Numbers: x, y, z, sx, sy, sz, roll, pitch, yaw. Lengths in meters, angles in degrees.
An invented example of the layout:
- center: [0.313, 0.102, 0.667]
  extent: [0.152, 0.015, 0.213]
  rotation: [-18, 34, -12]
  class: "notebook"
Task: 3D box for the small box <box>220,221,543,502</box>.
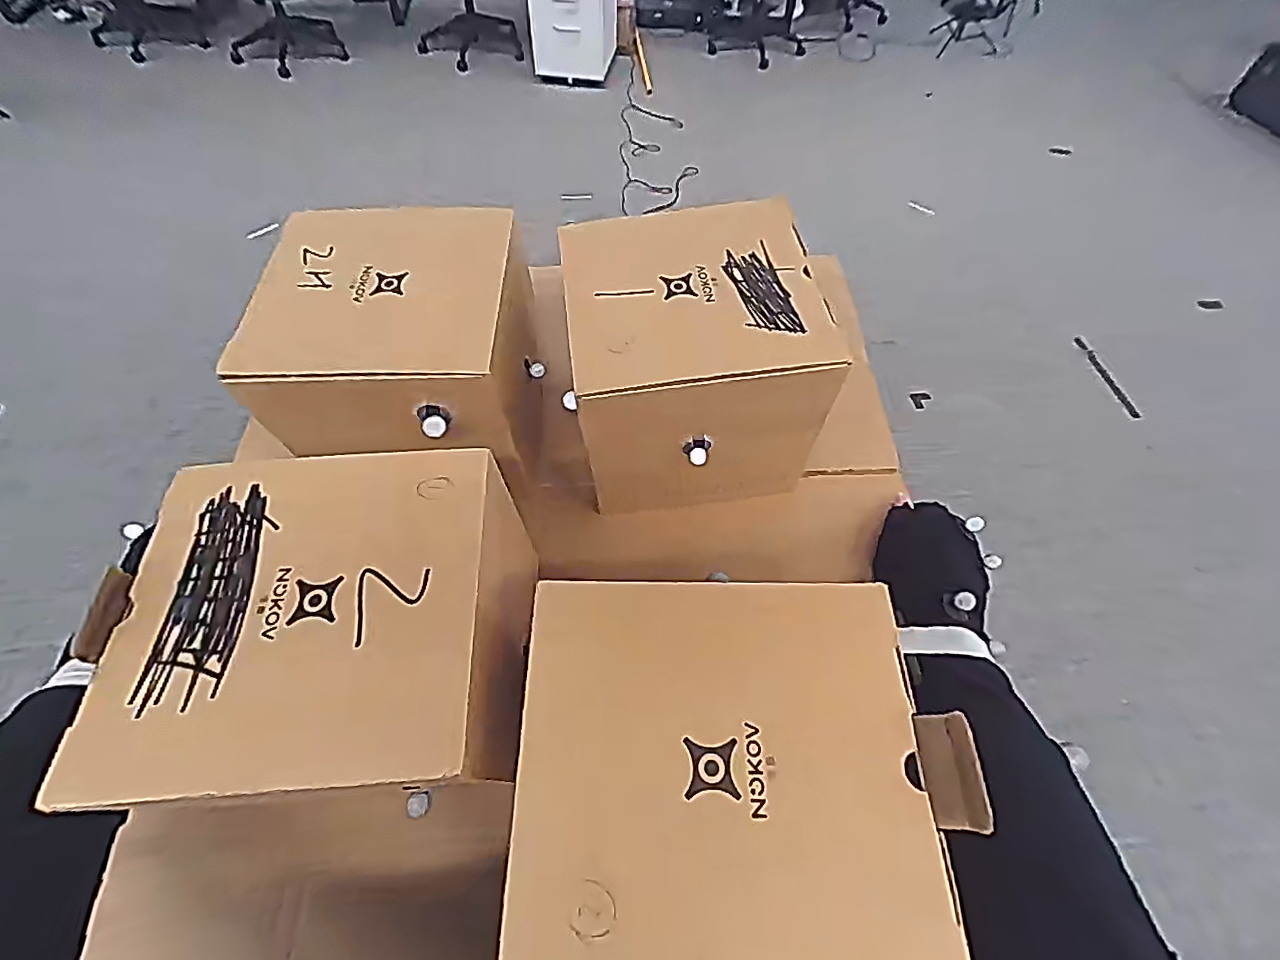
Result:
- center: [-0.185, -0.090, 0.456]
  extent: [0.179, 0.176, 0.168]
  rotation: [-1, 60, 1]
  class: "small box"
